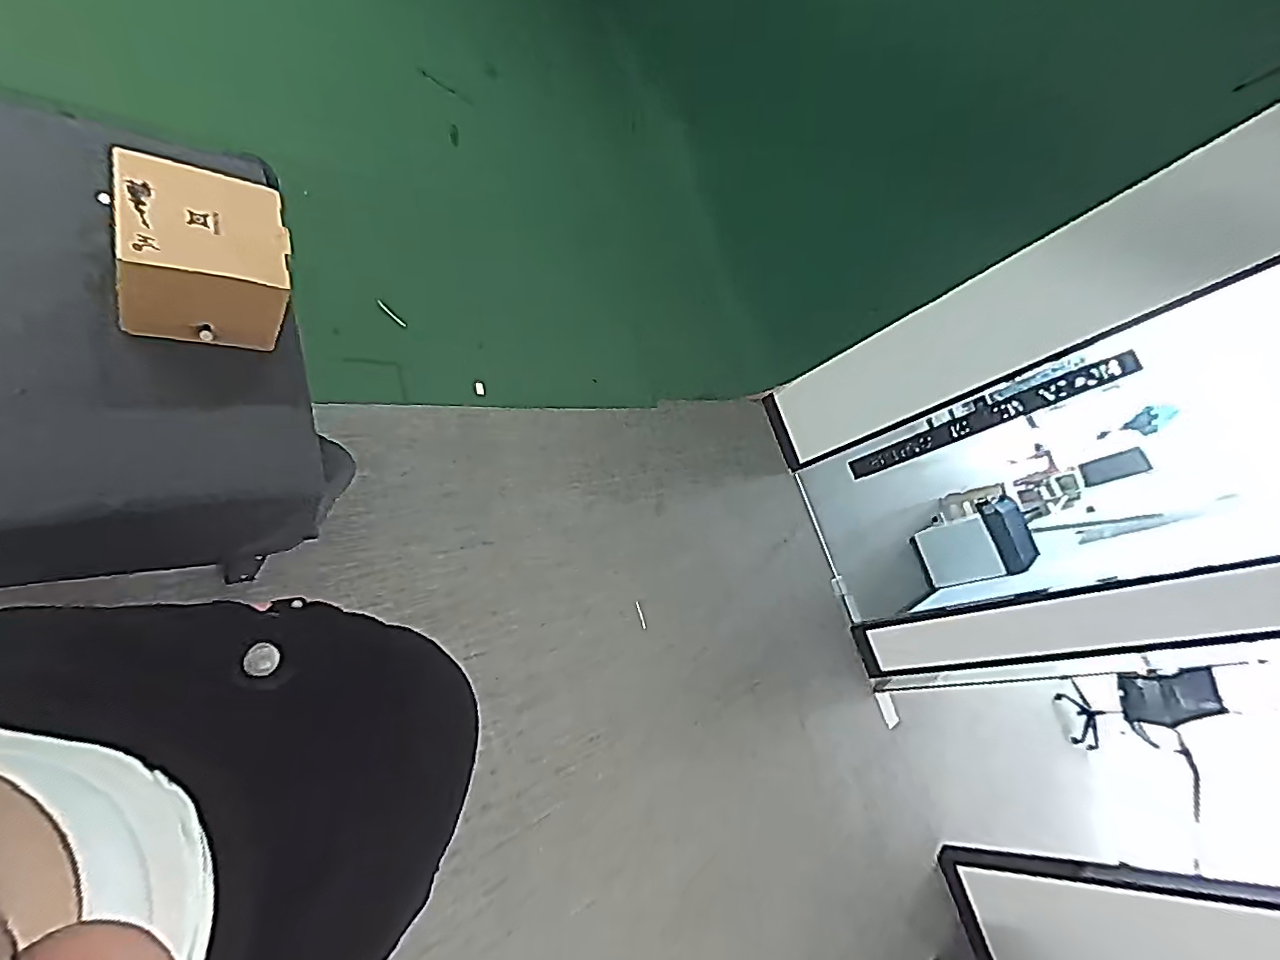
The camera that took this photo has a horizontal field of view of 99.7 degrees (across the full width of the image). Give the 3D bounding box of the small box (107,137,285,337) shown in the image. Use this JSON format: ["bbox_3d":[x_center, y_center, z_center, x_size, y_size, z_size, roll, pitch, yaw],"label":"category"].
[{"bbox_3d":[-0.621,-0.319,0.756,0.179,0.176,0.168,-2,72,-44],"label":"small box"}]
